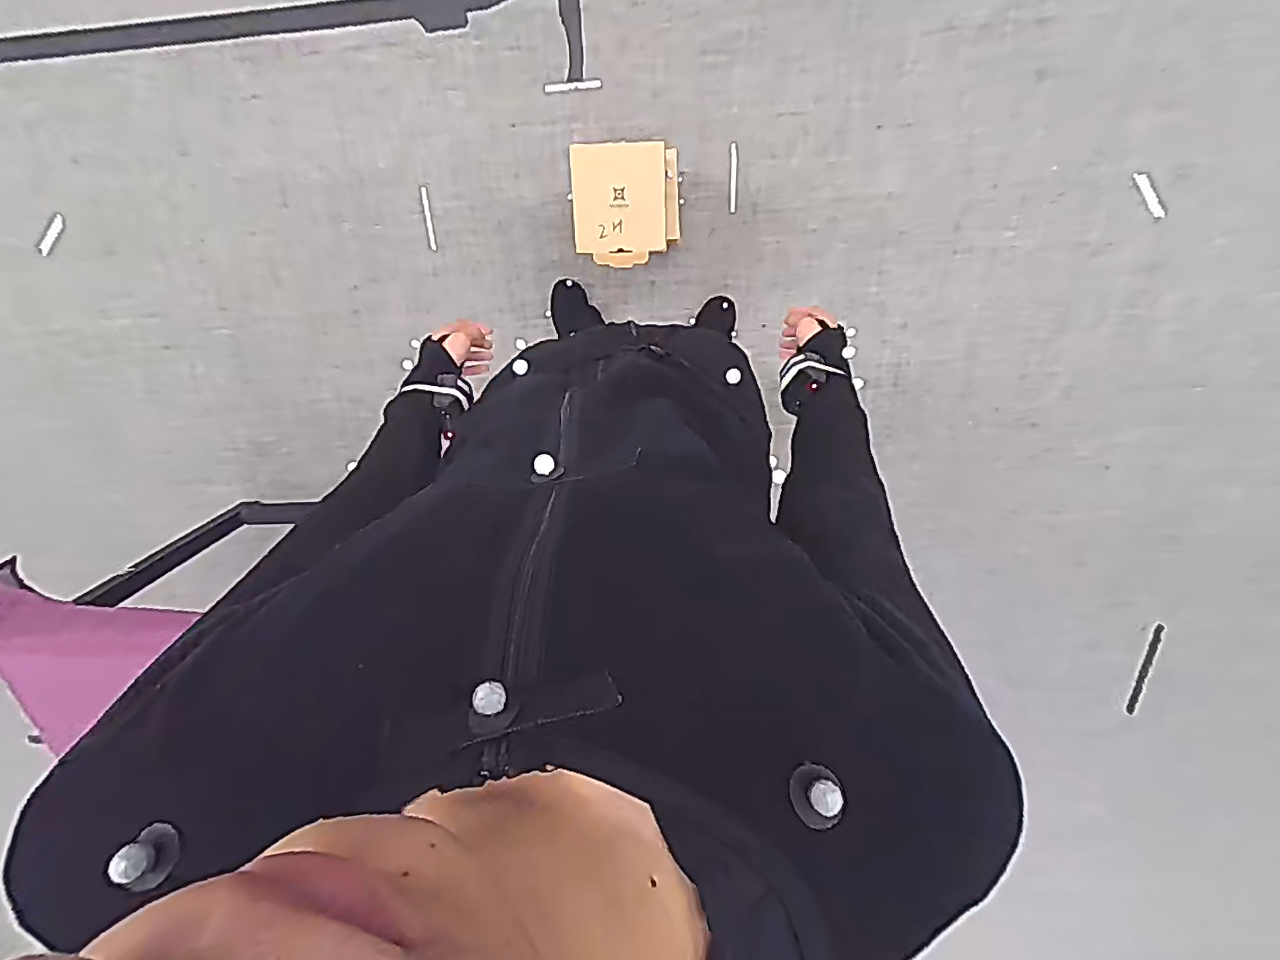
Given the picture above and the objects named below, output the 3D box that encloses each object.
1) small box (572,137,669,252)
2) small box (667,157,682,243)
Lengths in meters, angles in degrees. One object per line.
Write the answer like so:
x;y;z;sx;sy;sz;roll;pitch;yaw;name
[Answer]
-0.030;-0.527;1.017;0.168;0.176;0.179;0;114;3;small box
0.014;-0.666;1.315;0.168;0.176;0.179;-5;113;6;small box
